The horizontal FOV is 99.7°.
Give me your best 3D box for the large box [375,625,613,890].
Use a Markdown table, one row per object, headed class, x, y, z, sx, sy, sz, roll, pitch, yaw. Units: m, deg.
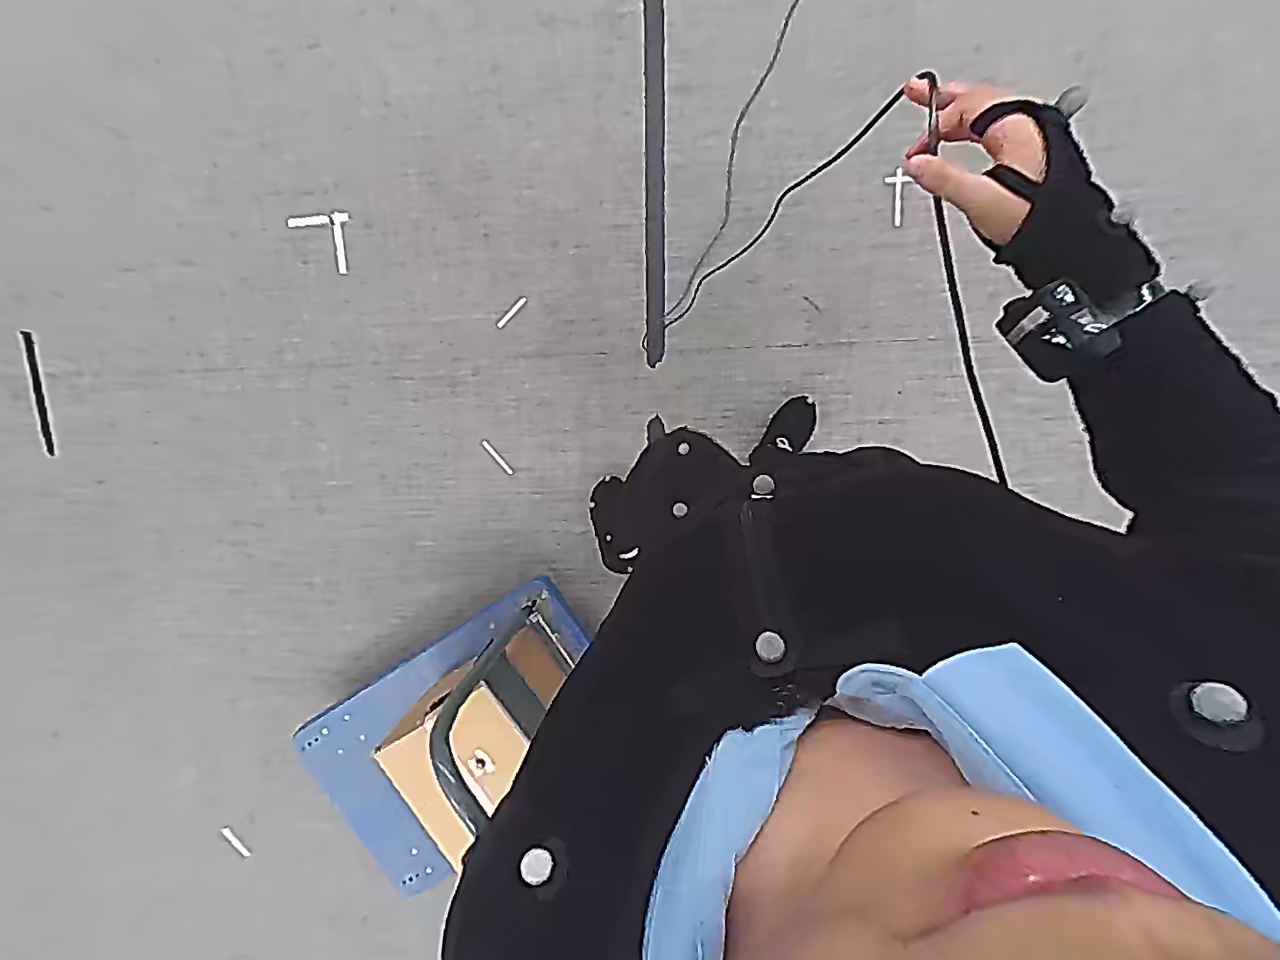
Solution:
| class | x | y | z | sx | sy | sz | roll | pitch | yaw |
| --- | --- | --- | --- | --- | --- | --- | --- | --- | --- |
| large box | -0.316 | 0.633 | 1.287 | 0.320 | 0.320 | 0.408 | -33 | 93 | 8 |
